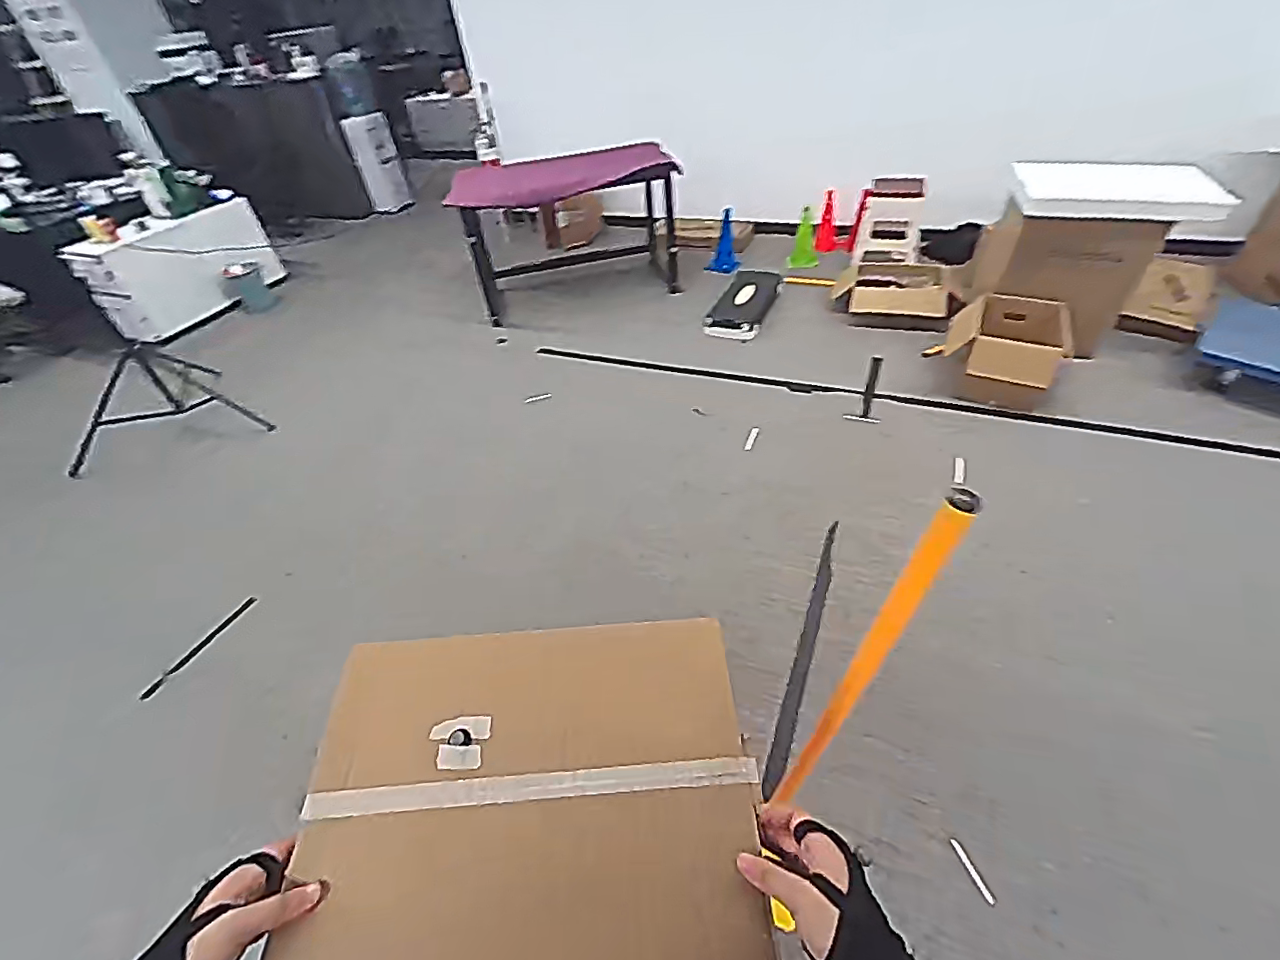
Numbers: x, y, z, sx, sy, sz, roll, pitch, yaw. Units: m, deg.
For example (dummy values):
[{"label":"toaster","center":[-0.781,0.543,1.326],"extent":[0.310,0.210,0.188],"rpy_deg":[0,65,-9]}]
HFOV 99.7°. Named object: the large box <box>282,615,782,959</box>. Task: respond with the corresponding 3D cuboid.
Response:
[{"label":"large box","center":[-0.090,0.385,0.617],"extent":[0.408,0.320,0.320],"rpy_deg":[-6,48,0]}]
